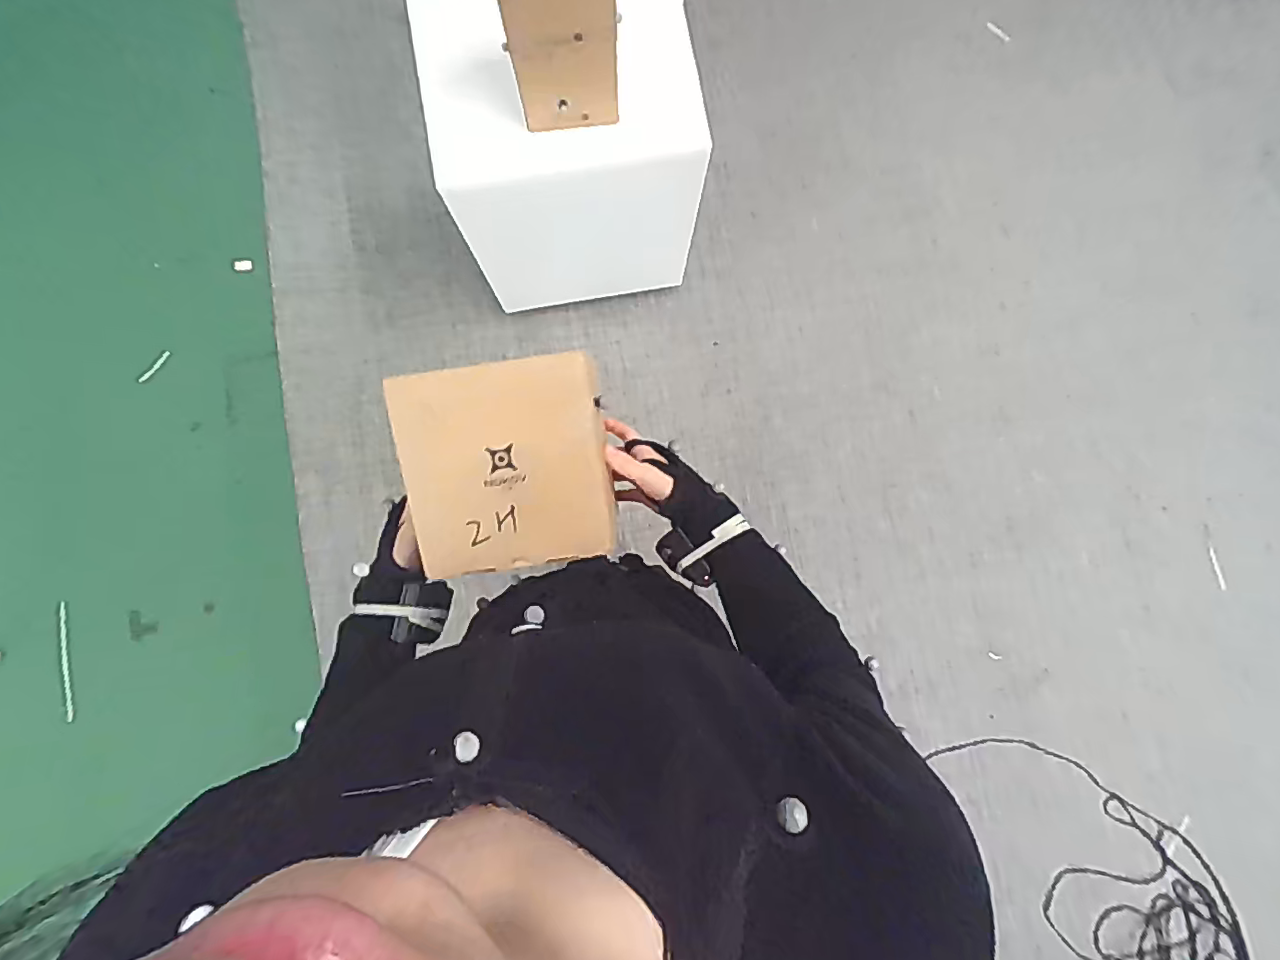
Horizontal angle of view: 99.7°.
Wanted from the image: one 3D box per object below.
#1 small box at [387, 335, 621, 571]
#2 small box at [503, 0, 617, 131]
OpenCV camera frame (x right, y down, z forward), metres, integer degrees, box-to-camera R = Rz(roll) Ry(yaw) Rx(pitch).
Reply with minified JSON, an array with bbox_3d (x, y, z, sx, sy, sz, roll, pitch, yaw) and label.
[{"bbox_3d":[-0.110,-0.030,0.513,0.168,0.176,0.179,-8,99,0],"label":"small box"},{"bbox_3d":[-0.131,-0.727,0.900,0.168,0.176,0.179,-8,84,-2],"label":"small box"}]
